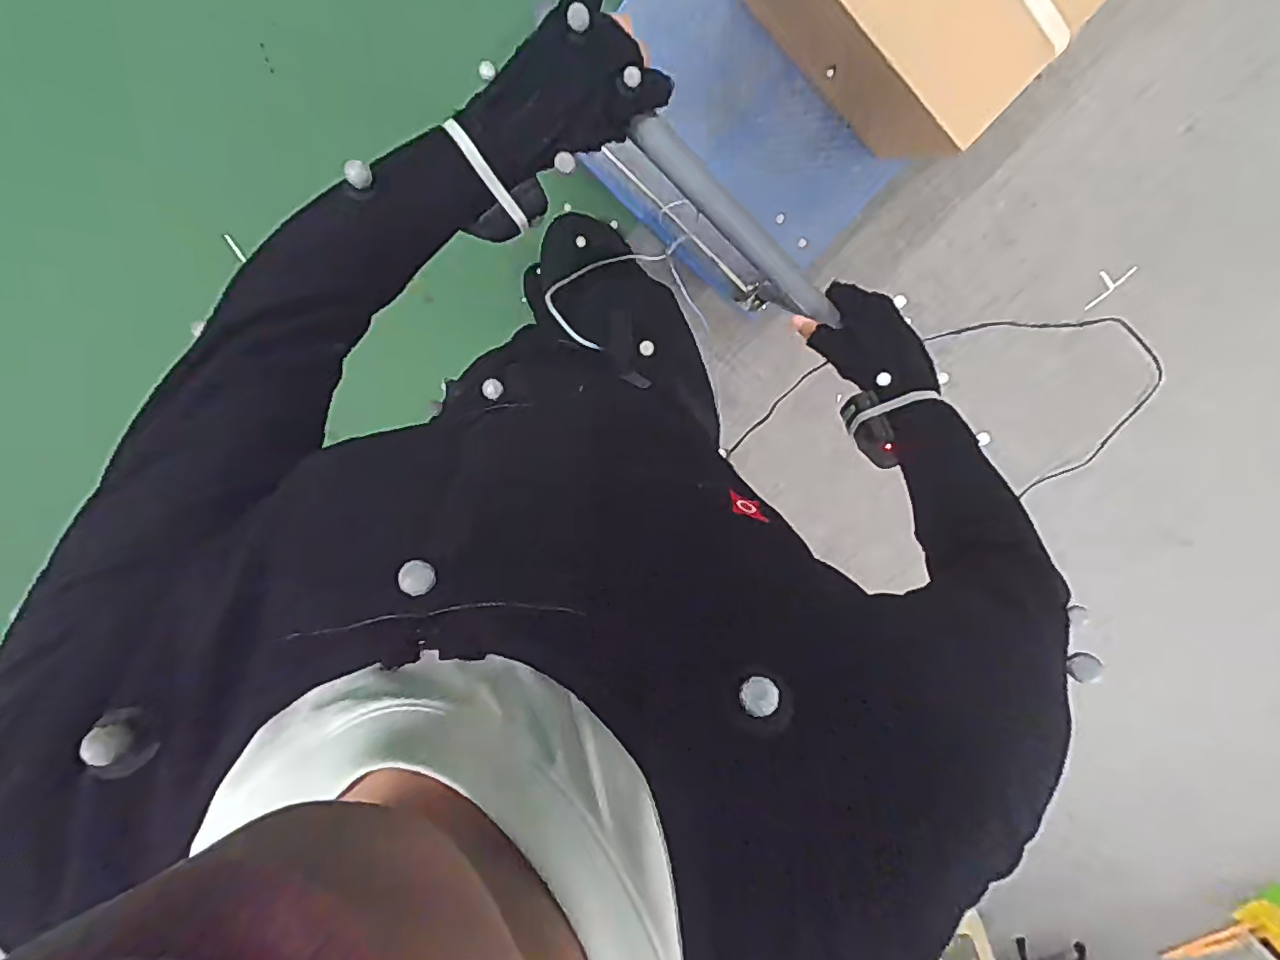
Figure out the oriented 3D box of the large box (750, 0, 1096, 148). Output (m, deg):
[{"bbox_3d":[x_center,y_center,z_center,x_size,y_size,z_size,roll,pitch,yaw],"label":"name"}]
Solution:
[{"bbox_3d":[0.414,-0.773,0.804,0.408,0.320,0.320,35,113,-18],"label":"large box"}]
